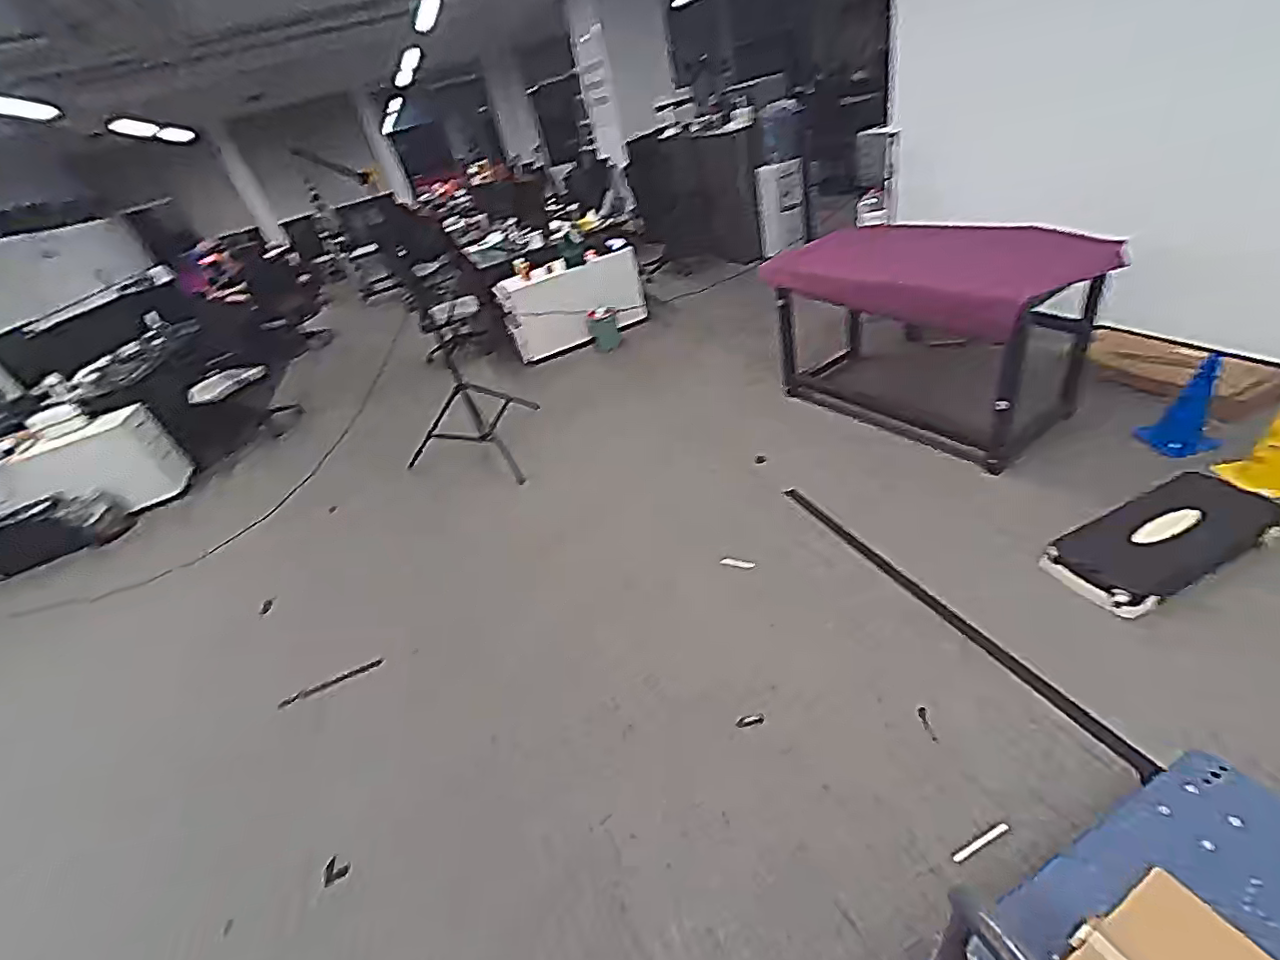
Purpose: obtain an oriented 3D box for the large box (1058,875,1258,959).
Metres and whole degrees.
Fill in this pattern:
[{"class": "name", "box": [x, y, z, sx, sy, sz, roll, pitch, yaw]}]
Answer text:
[{"class": "large box", "box": [0.740, 0.842, 0.686, 0.320, 0.320, 0.408, -27, 38, -15]}]
